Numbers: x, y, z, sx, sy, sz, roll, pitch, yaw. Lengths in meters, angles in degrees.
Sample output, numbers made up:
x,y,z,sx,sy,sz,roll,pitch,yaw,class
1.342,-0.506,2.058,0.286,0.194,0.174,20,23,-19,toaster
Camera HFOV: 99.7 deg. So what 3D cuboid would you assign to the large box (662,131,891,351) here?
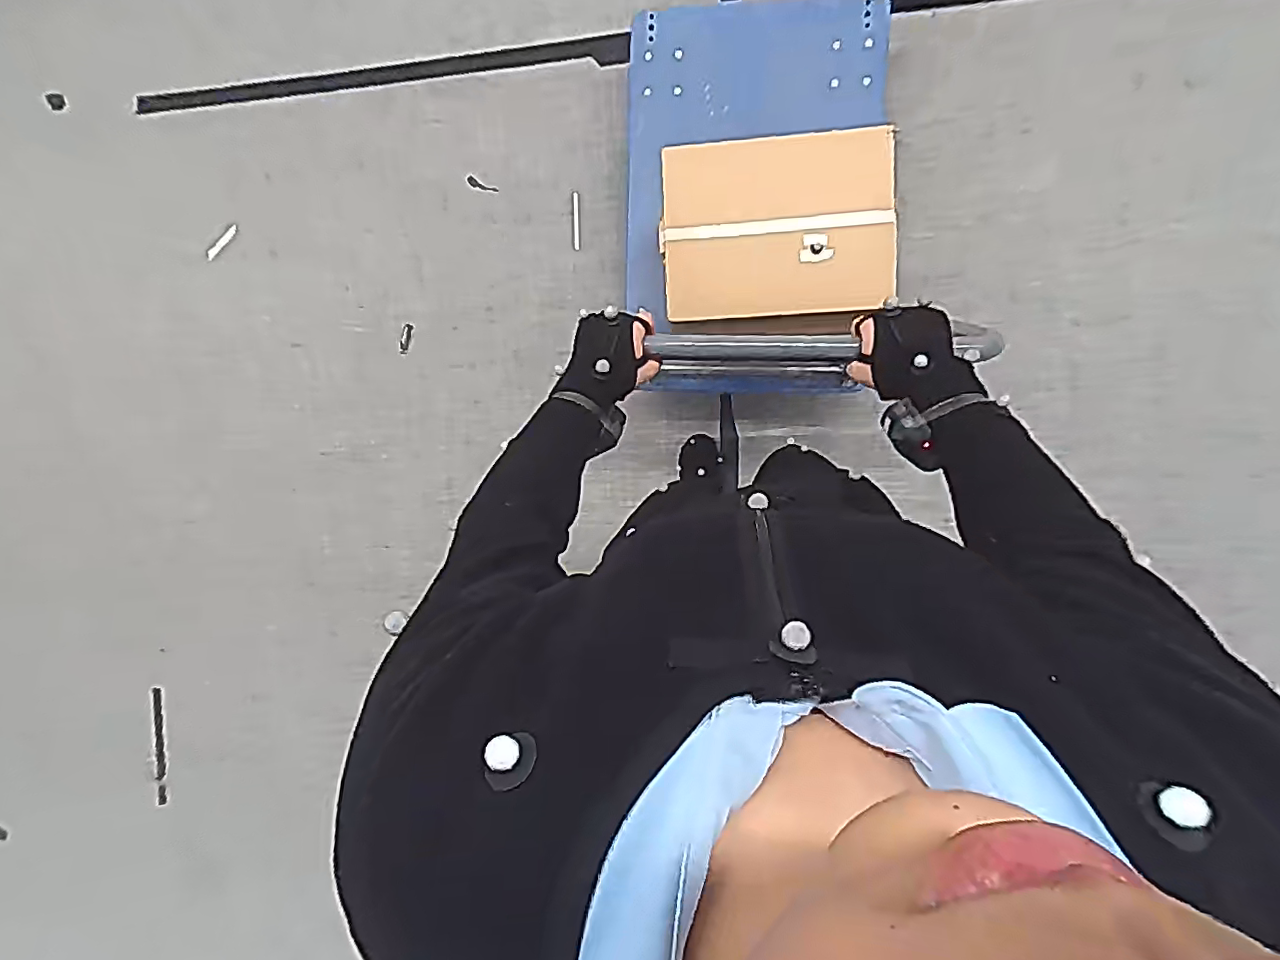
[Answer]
x,y,z,sx,sy,sz,roll,pitch,yaw,class
0.259,-0.463,1.128,0.408,0.320,0.320,-2,94,6,large box
